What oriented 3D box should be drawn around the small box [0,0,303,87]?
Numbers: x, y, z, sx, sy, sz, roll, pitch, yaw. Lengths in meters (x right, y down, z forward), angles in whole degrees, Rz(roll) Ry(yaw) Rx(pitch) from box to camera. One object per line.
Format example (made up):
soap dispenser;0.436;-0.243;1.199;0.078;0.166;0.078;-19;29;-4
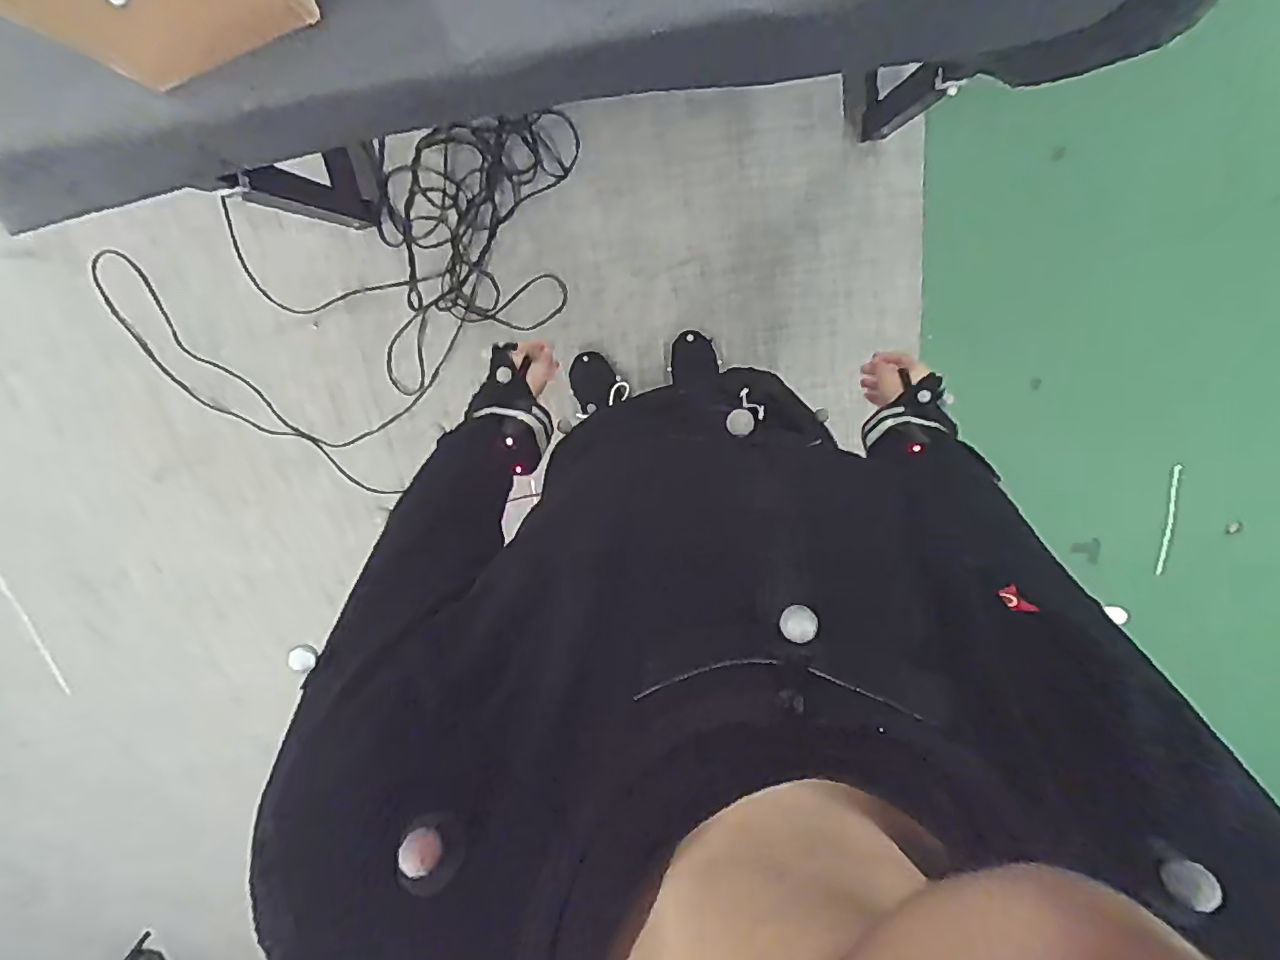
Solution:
small box;-0.393;-0.440;0.401;0.179;0.176;0.168;-18;105;6
